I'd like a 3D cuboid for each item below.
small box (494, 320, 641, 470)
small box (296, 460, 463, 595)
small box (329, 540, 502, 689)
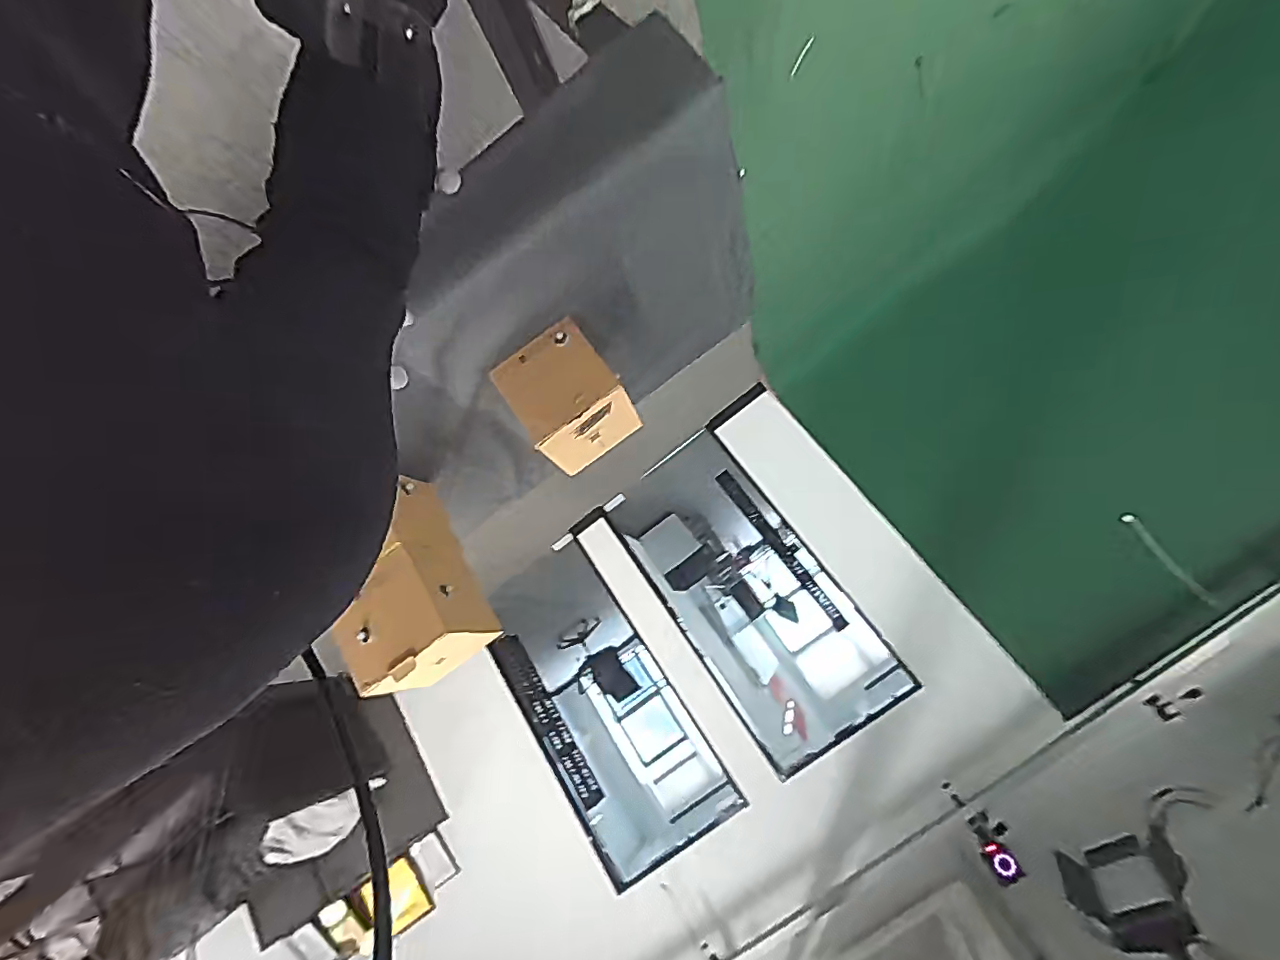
[{"bbox_3d":[-0.124,-0.149,0.943,0.168,0.176,0.179,-35,162,1],"label":"small box"},{"bbox_3d":[-0.455,0.088,0.947,0.168,0.176,0.179,-37,160,6],"label":"small box"},{"bbox_3d":[-0.369,0.216,0.894,0.168,0.176,0.179,-36,161,3],"label":"small box"}]
